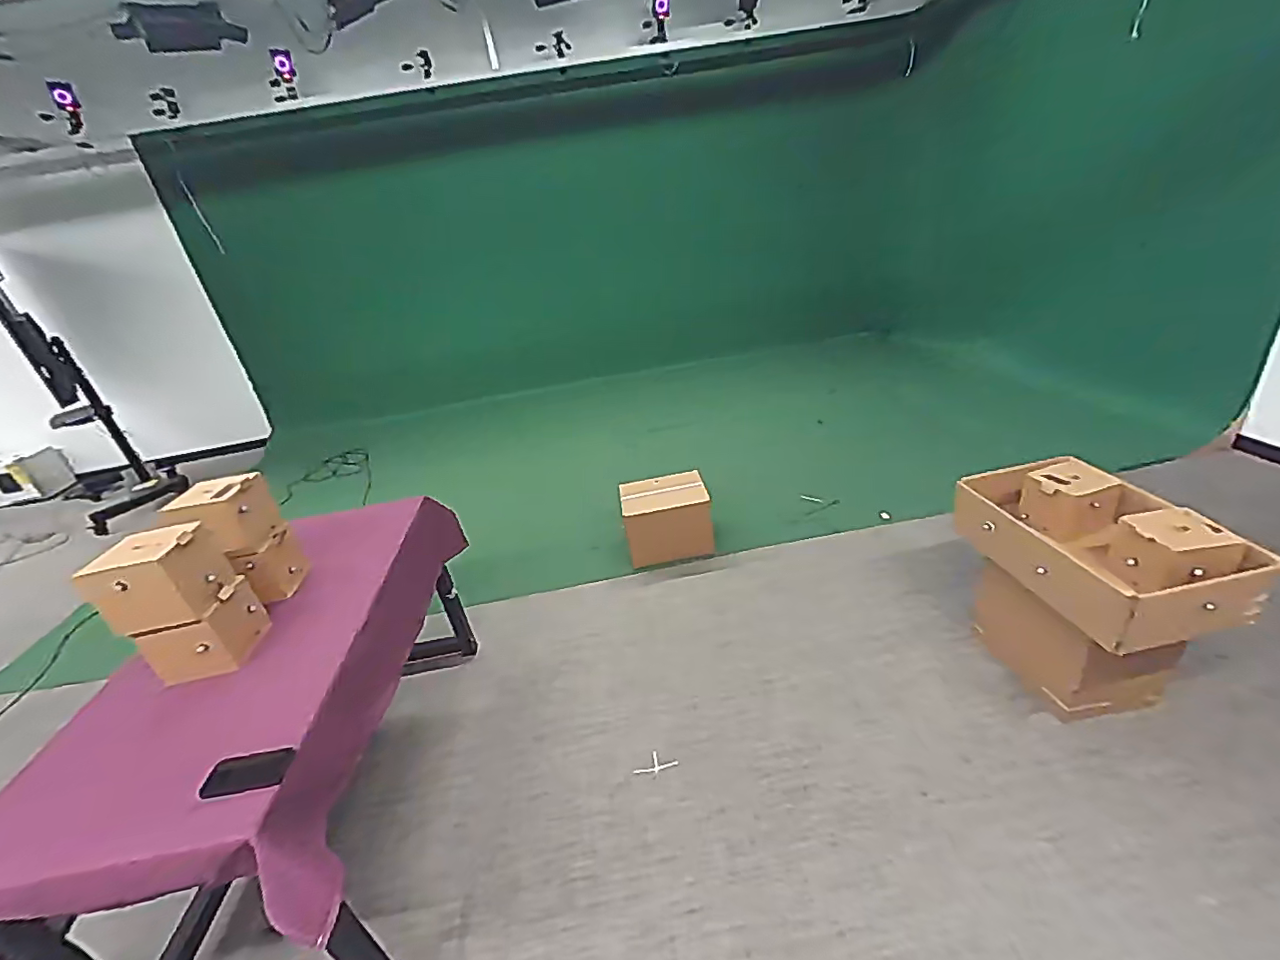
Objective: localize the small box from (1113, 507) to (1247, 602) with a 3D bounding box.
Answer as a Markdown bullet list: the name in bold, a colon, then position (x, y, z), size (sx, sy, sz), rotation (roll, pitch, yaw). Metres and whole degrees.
- **small box**: position (1.364, 0.193, 1.384), size (0.179, 0.176, 0.168), rotation (-9, 27, 4)

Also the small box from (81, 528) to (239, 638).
- **small box**: position (-1.077, 0.236, 1.231), size (0.179, 0.176, 0.168), rotation (-12, 27, -3)

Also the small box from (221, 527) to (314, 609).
- **small box**: position (-1.083, 0.260, 1.551), size (0.179, 0.176, 0.168), rotation (-11, 27, -3)

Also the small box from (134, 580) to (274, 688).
- **small box**: position (-1.042, 0.374, 1.315), size (0.179, 0.176, 0.168), rotation (-12, 26, -2)
